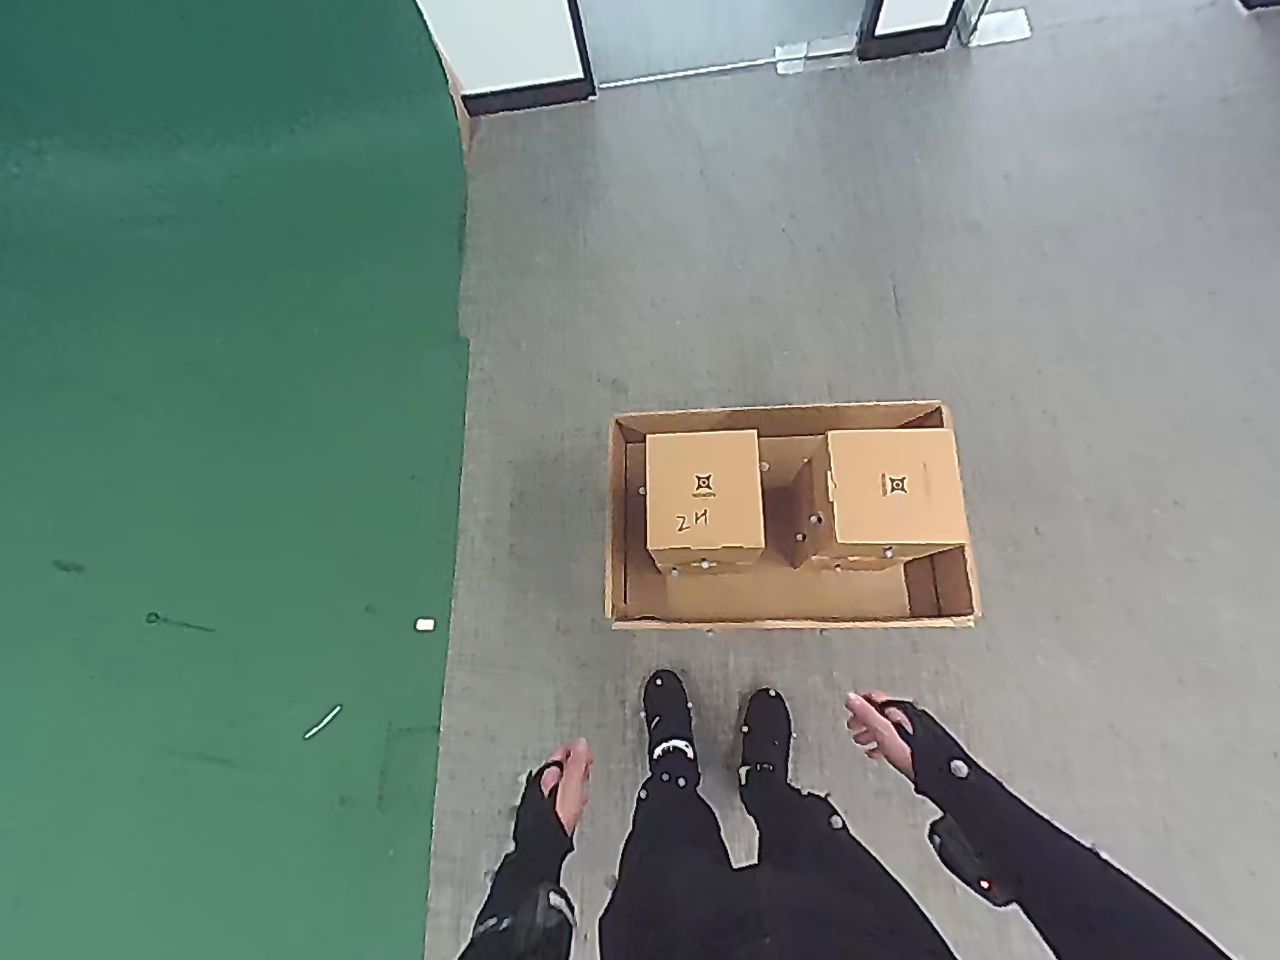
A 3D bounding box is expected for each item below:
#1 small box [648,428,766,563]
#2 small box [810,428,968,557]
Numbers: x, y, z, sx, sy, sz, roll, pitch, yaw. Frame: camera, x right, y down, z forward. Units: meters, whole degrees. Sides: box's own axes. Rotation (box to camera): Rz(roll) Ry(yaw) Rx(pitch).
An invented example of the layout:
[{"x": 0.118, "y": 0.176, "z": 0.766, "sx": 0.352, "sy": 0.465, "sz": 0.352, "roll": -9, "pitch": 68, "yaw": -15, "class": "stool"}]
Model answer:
[{"x": 0.101, "y": 0.031, "z": 0.847, "sx": 0.168, "sy": 0.176, "sz": 0.179, "roll": -1, "pitch": 74, "yaw": 6, "class": "small box"}, {"x": 0.362, "y": 0.026, "z": 0.824, "sx": 0.179, "sy": 0.176, "sz": 0.168, "roll": 0, "pitch": 76, "yaw": 5, "class": "small box"}]
